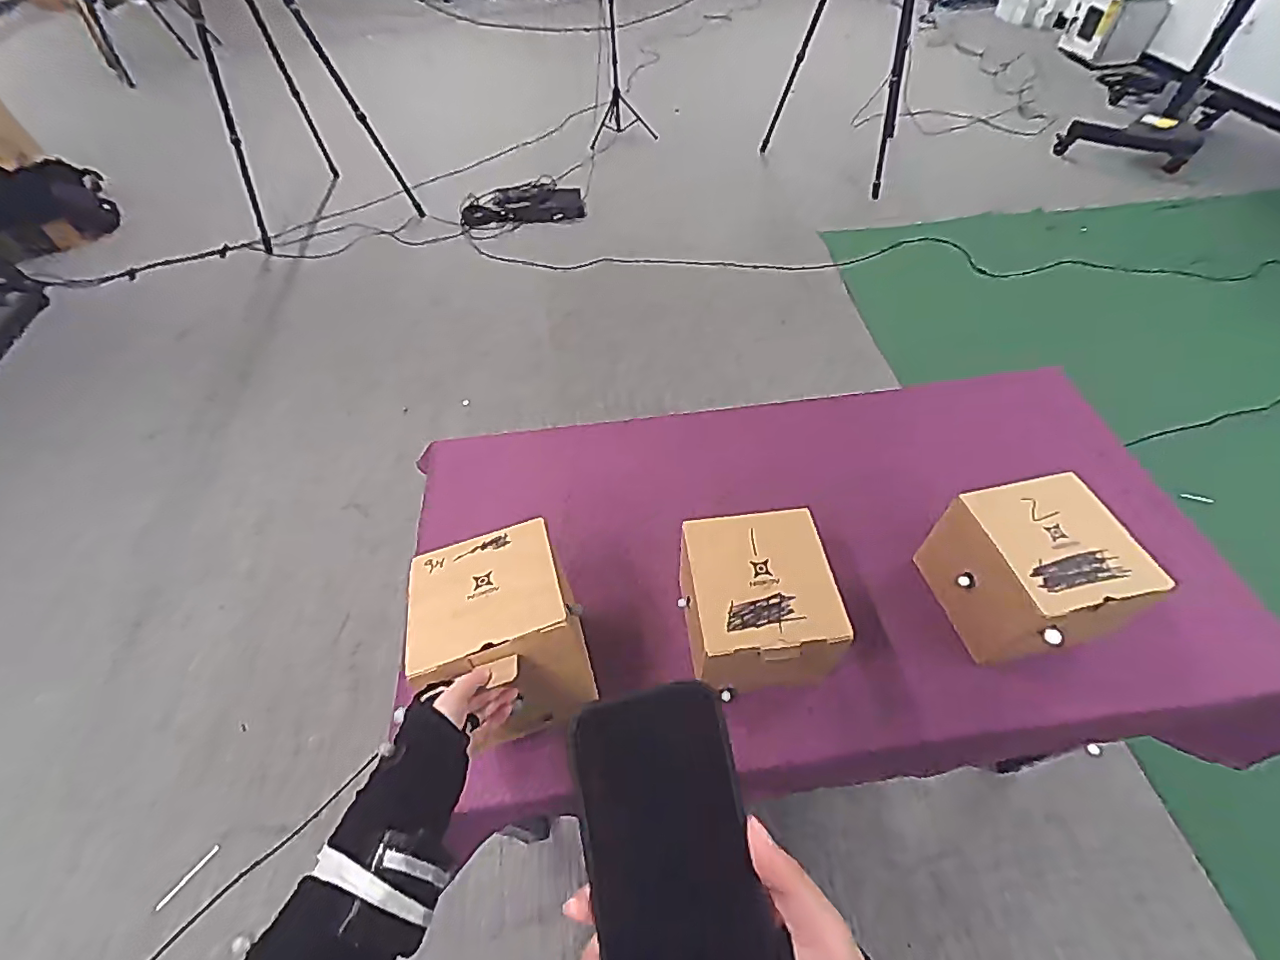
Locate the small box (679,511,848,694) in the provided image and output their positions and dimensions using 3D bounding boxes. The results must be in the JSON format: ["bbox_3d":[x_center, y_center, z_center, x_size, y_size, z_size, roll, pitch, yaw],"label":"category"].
[{"bbox_3d":[0.144,0.165,0.701,0.168,0.176,0.179,-6,51,-2],"label":"small box"}]

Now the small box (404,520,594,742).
[{"bbox_3d":[-0.162,0.183,0.645,0.168,0.176,0.179,-18,39,-8],"label":"small box"}]
